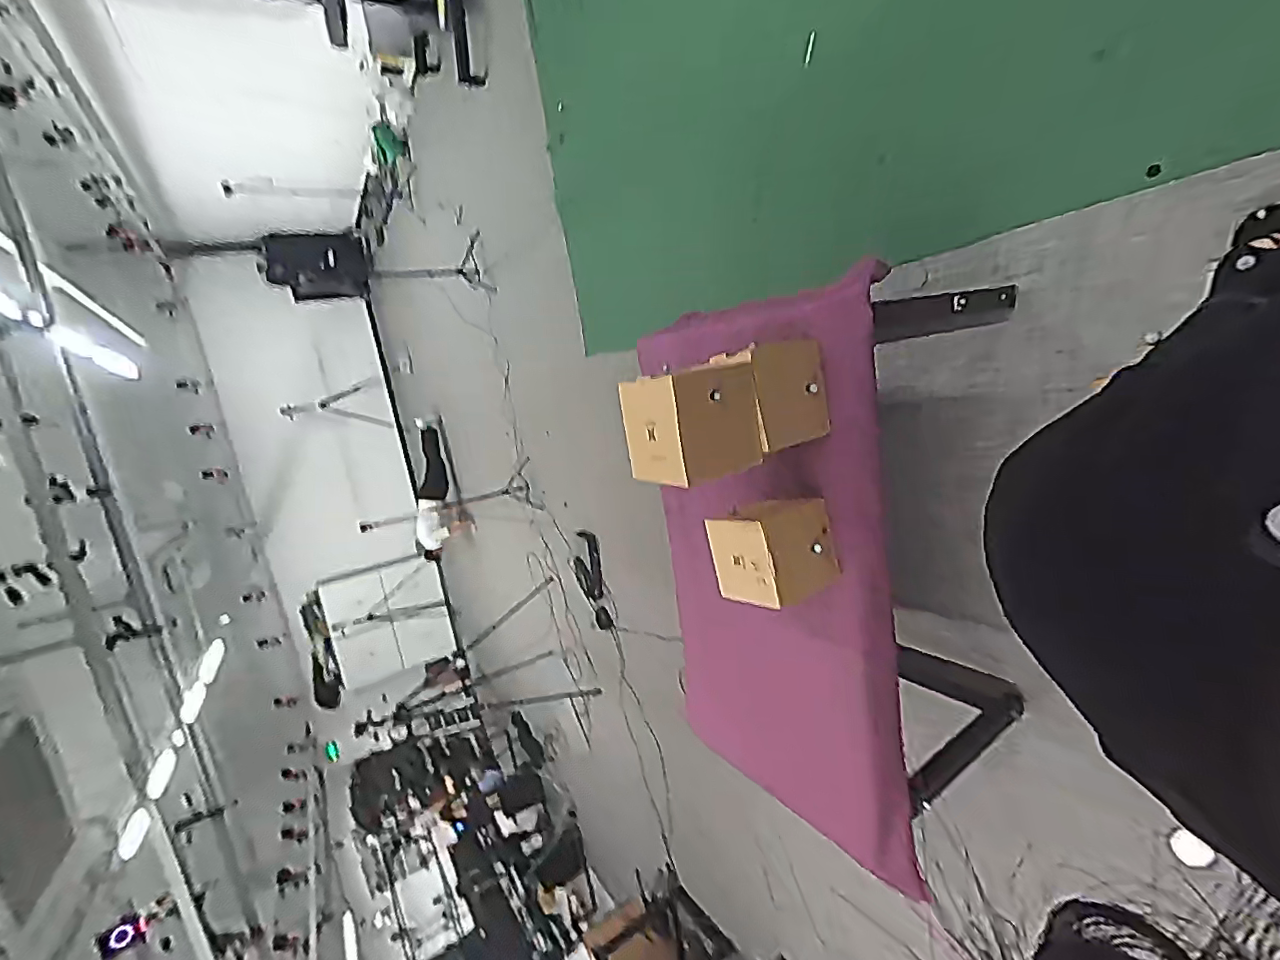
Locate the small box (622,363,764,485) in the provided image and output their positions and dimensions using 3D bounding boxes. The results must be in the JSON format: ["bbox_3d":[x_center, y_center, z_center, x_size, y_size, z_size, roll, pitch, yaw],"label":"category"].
[{"bbox_3d":[0.093,-0.102,0.933,0.168,0.176,0.179,10,113,57],"label":"small box"}]

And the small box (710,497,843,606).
[{"bbox_3d":[0.270,0.133,1.077,0.179,0.176,0.168,-6,99,60],"label":"small box"}]

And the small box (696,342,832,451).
[{"bbox_3d":[0.230,-0.152,1.006,0.168,0.176,0.179,-2,103,59],"label":"small box"}]
